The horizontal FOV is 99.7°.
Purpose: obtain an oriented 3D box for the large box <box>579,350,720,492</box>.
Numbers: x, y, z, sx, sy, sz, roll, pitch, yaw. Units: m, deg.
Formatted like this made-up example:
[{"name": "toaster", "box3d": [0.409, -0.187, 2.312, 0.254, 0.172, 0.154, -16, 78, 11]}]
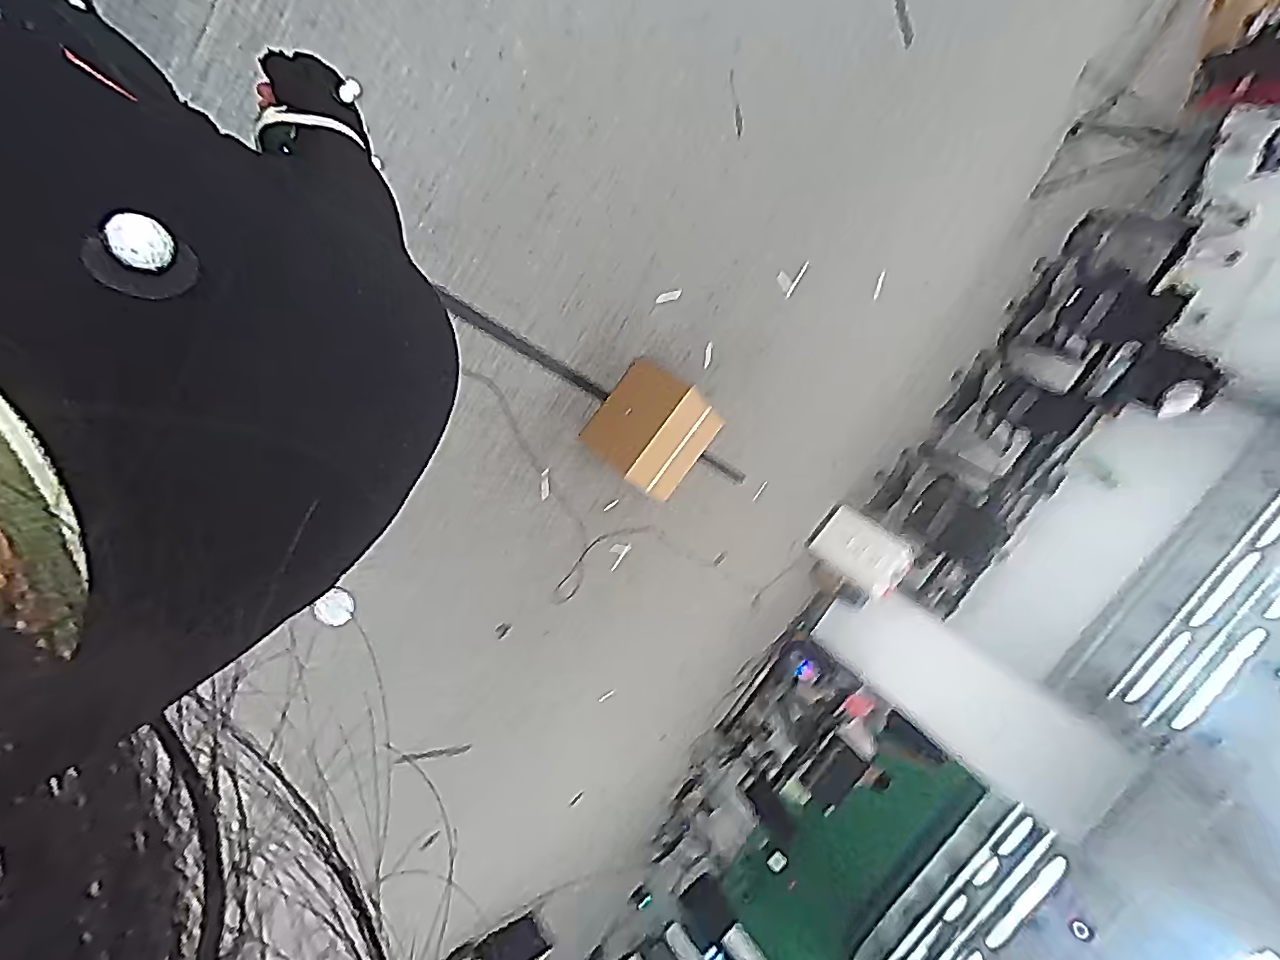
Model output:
[{"name": "large box", "box3d": [0.040, -0.232, 2.136, 0.408, 0.320, 0.320, -54, 143, 2]}]
